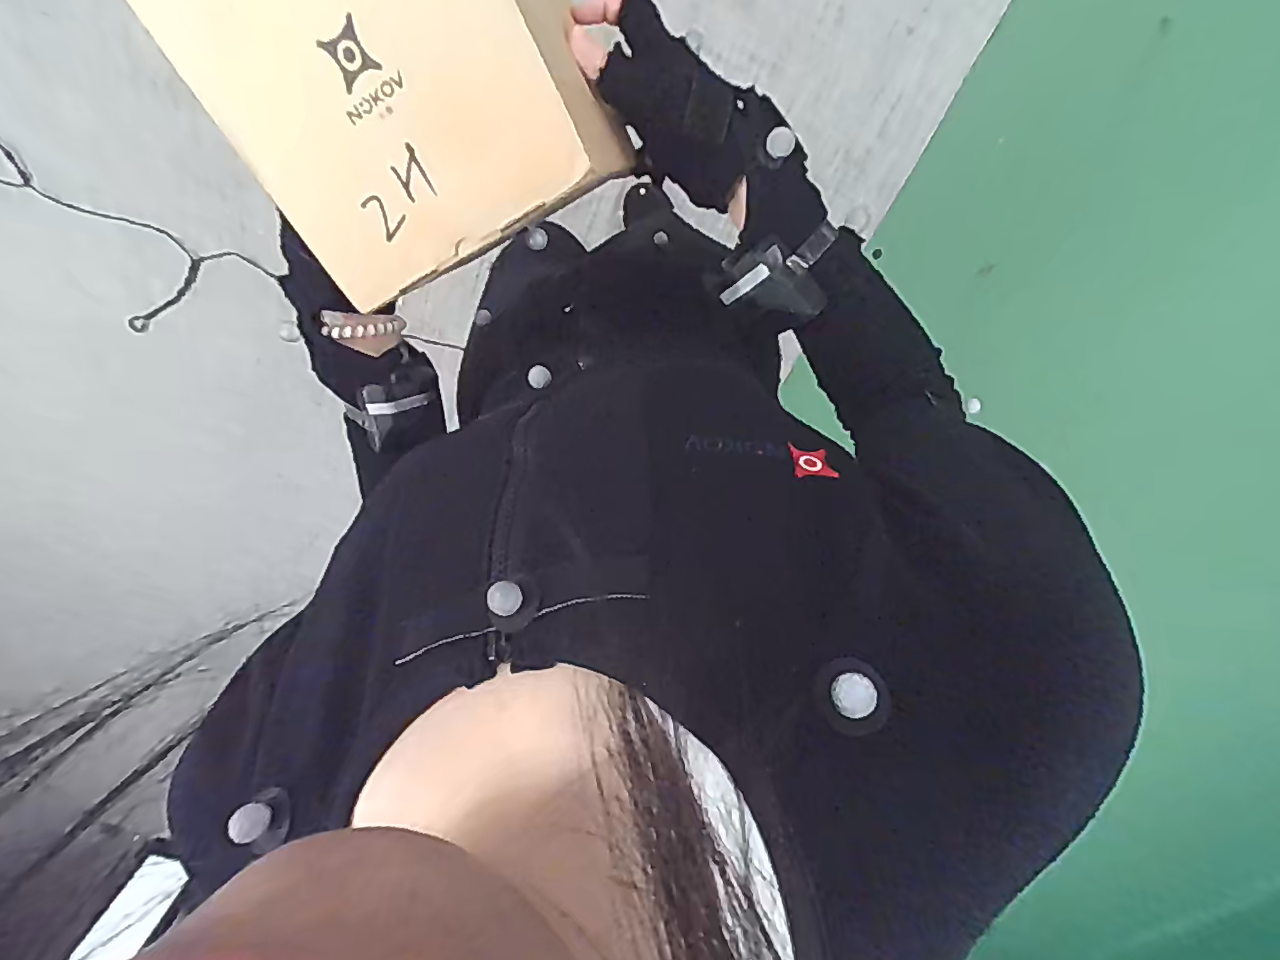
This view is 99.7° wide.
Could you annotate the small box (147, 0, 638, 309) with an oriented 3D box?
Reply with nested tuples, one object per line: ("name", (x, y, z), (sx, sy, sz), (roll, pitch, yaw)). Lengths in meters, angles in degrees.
("small box", (-0.116, -0.235, 0.325), (0.168, 0.176, 0.179), (-19, 118, 20))
